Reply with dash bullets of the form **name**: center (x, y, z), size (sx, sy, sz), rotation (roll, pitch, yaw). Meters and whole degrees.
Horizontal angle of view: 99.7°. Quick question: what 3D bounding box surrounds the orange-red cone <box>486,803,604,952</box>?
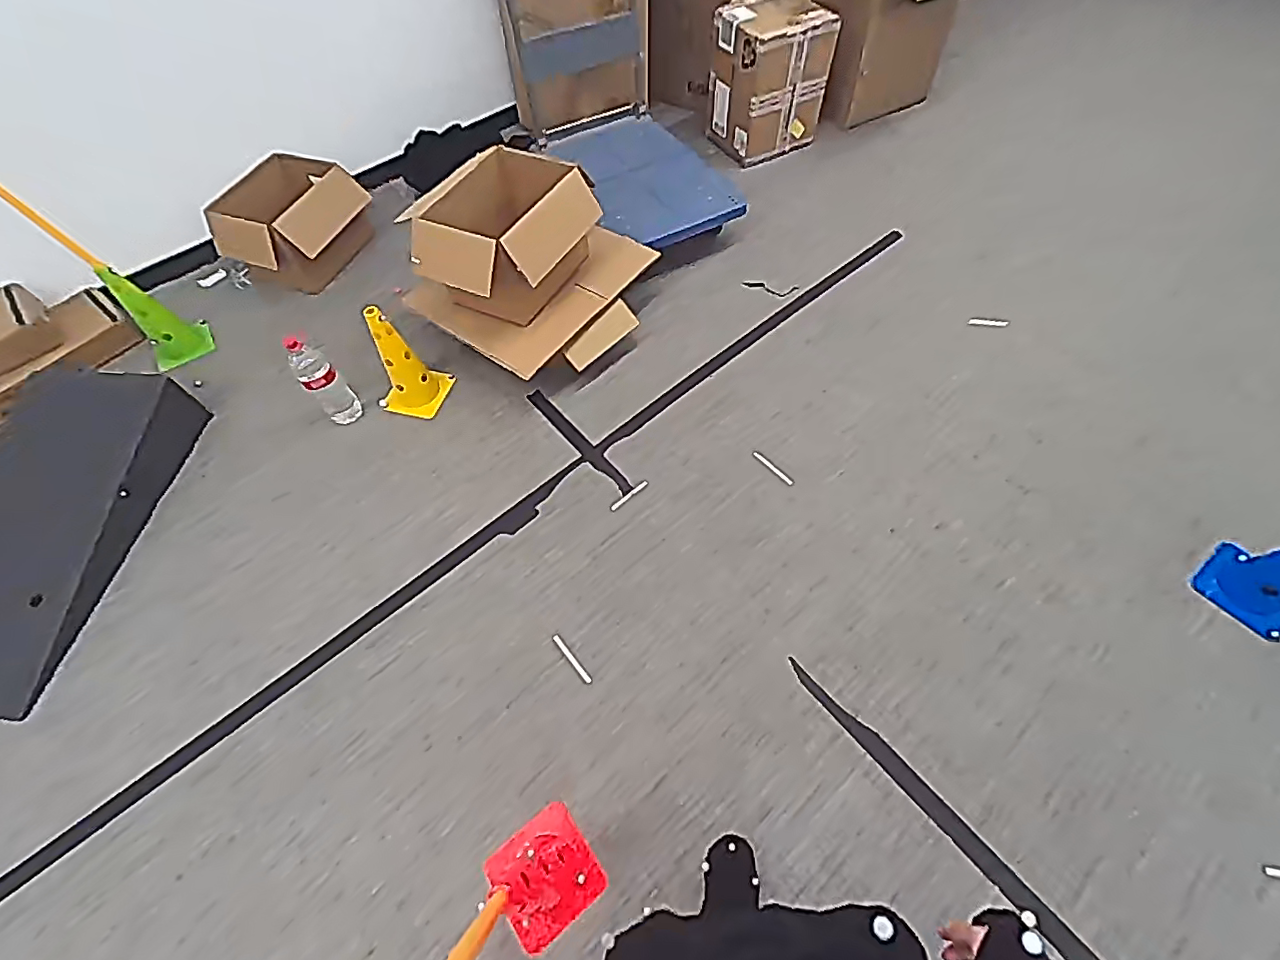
- **orange-red cone**: center (-0.208, 0.728, 0.979), size (0.198, 0.360, 0.199), rotation (-34, 62, -16)

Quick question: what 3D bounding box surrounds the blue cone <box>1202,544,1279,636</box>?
- **blue cone**: center (1.541, 0.187, 1.224), size (0.193, 0.380, 0.192), rotation (-34, 63, -16)
